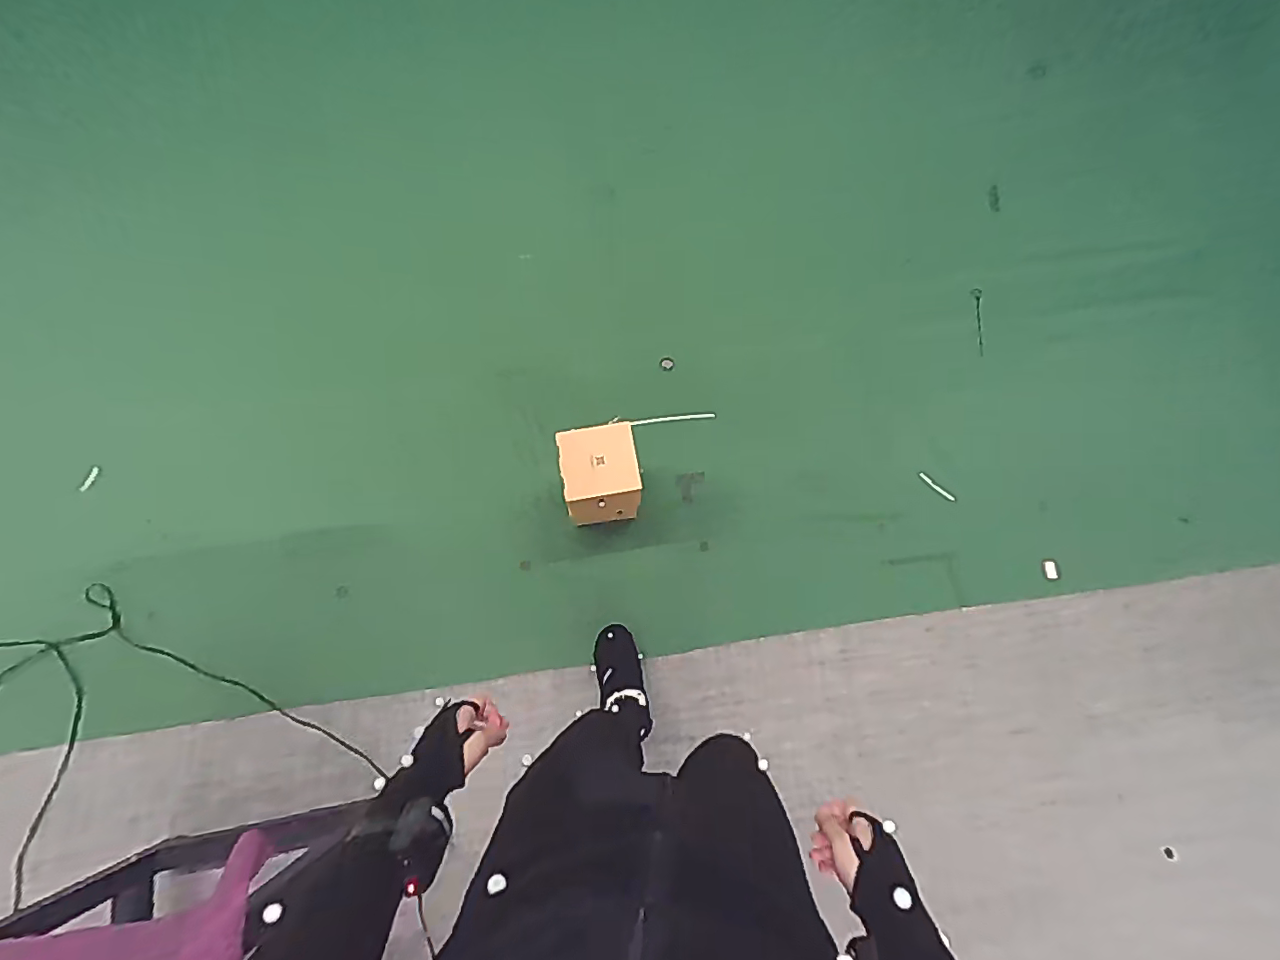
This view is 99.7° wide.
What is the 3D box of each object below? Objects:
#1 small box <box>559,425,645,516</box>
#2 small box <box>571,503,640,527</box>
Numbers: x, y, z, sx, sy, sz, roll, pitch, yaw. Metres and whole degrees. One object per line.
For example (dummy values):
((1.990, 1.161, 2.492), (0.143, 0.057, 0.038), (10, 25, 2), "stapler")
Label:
((-0.089, -0.018, 1.299), (0.179, 0.176, 0.168), (-10, 76, -2), "small box")
((-0.098, 0.025, 1.456), (0.179, 0.176, 0.168), (-8, 76, -3), "small box")
